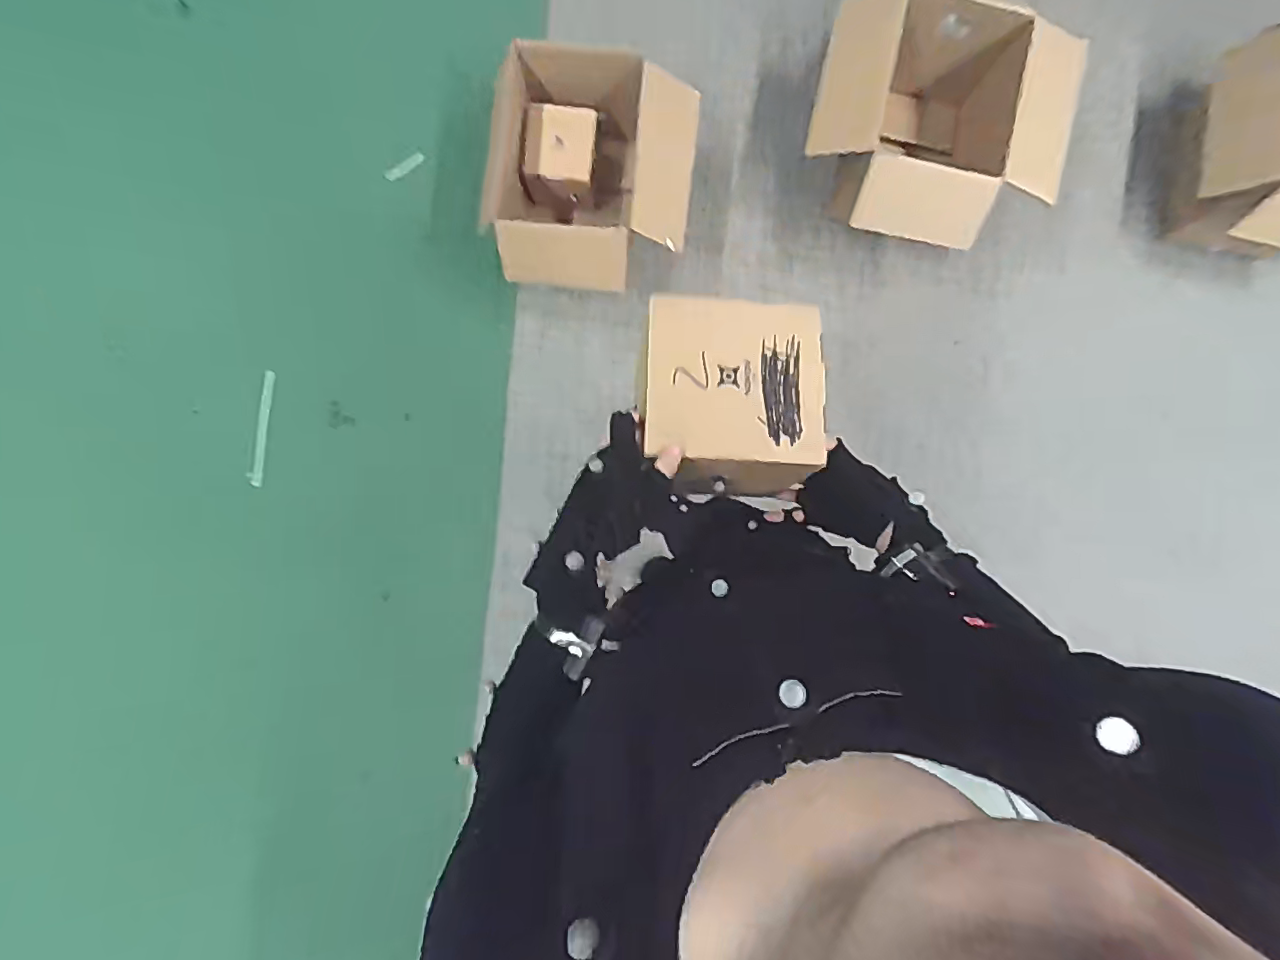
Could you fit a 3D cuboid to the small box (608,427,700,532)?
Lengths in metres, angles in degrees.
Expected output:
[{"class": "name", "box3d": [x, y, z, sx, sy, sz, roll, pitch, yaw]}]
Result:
[{"class": "small box", "box3d": [0.042, 0.001, 1.408, 0.168, 0.176, 0.179, 29, 64, 27]}]
